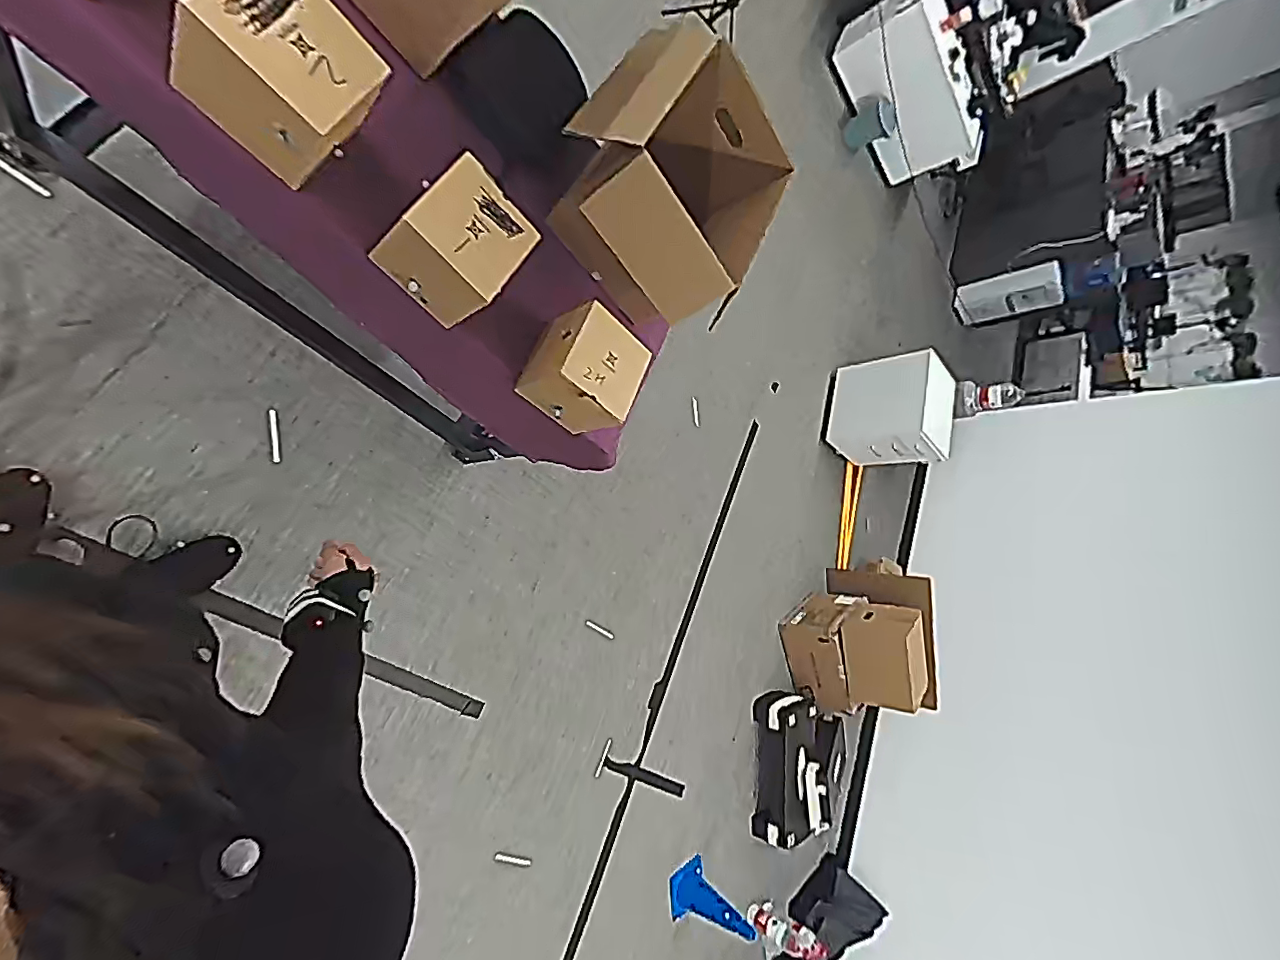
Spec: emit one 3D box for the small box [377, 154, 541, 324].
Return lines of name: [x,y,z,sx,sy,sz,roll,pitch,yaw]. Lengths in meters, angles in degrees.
small box: [-0.308,-0.396,0.914,0.168,0.176,0.179,43,61,-32]

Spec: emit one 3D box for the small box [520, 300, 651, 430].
small box: [-0.111,-0.221,1.083,0.168,0.176,0.179,37,64,-34]
